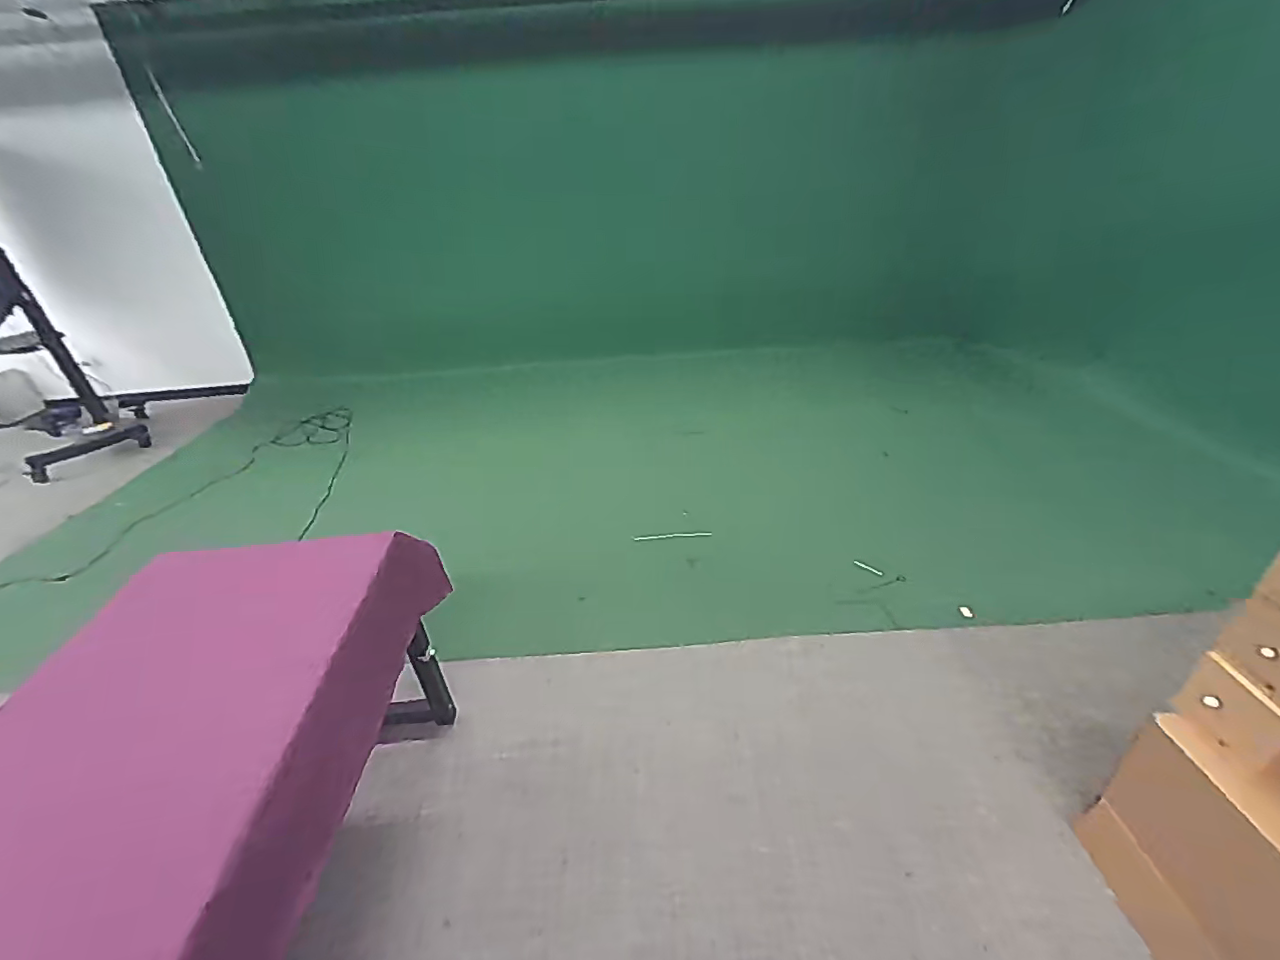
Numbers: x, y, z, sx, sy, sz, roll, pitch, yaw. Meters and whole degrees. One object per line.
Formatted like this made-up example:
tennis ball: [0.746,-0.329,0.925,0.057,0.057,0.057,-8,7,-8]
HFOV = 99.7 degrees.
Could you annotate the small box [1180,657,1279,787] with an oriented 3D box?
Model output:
small box: [1.201,0.461,1.032,0.179,0.176,0.168,-2,32,1]
